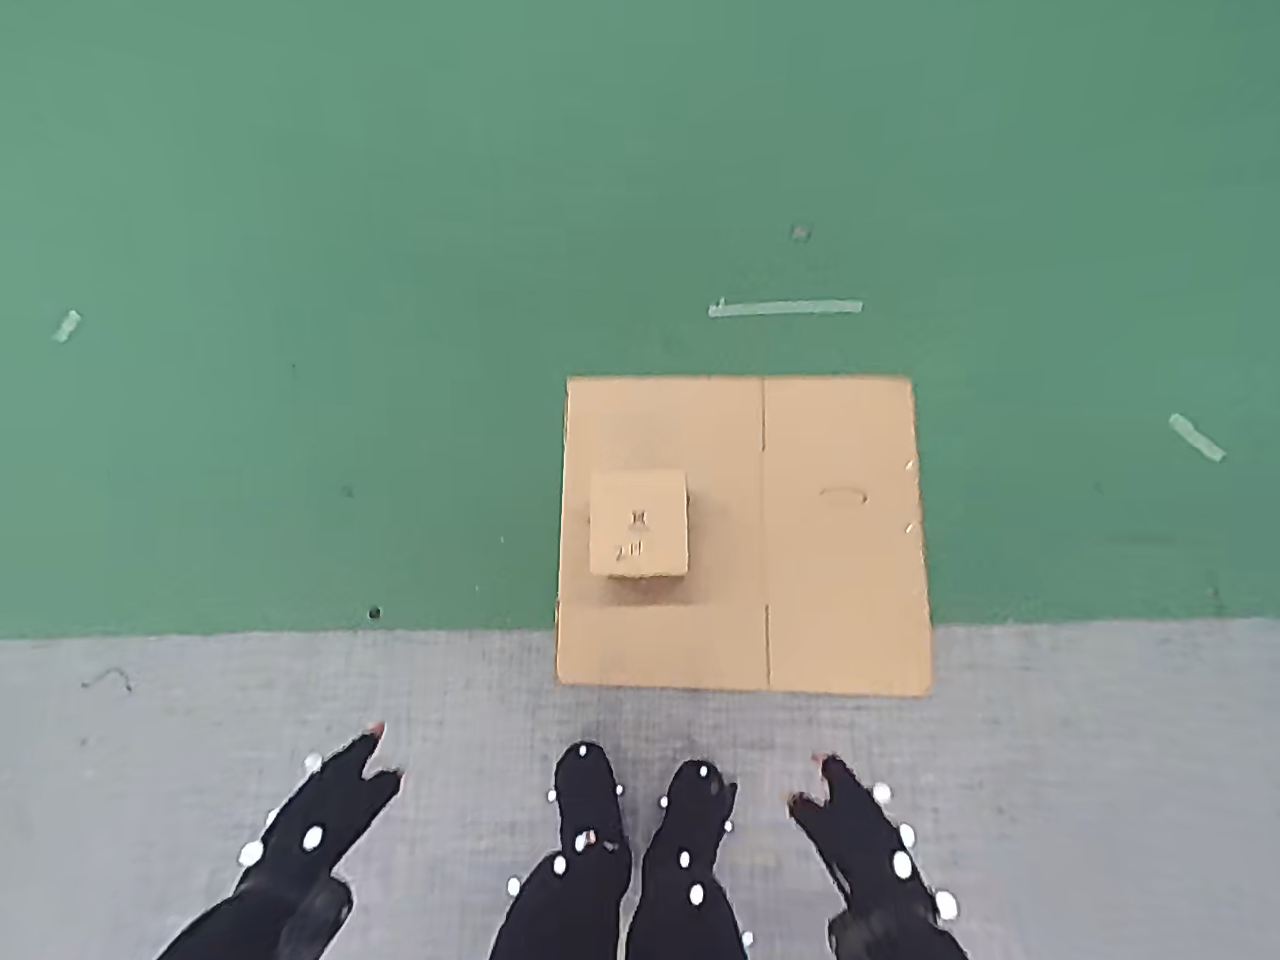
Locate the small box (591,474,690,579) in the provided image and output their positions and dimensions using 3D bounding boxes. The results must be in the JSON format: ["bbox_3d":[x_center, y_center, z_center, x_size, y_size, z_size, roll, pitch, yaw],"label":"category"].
[{"bbox_3d":[0.007,0.090,0.981,0.168,0.176,0.179,-1,80,5],"label":"small box"}]
